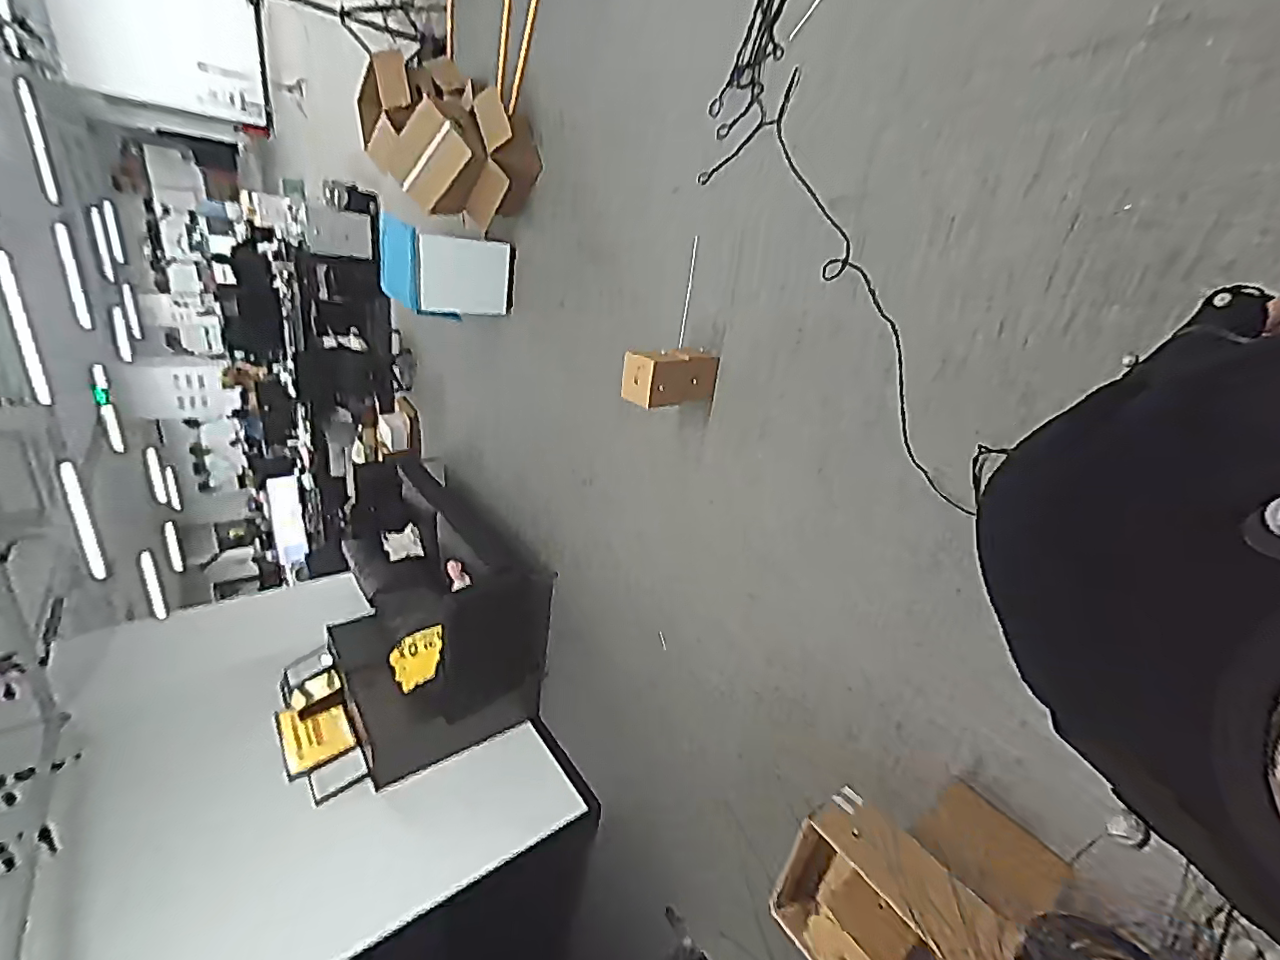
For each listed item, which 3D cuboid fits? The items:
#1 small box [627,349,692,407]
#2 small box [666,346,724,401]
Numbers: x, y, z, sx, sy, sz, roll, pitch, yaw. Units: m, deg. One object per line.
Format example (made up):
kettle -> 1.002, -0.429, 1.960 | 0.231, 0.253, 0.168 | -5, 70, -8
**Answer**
small box -> 0.072, -0.381, 1.999 | 0.168, 0.176, 0.179 | 32, 123, 44
small box -> 0.203, -0.414, 2.093 | 0.168, 0.176, 0.179 | 32, 122, 44
